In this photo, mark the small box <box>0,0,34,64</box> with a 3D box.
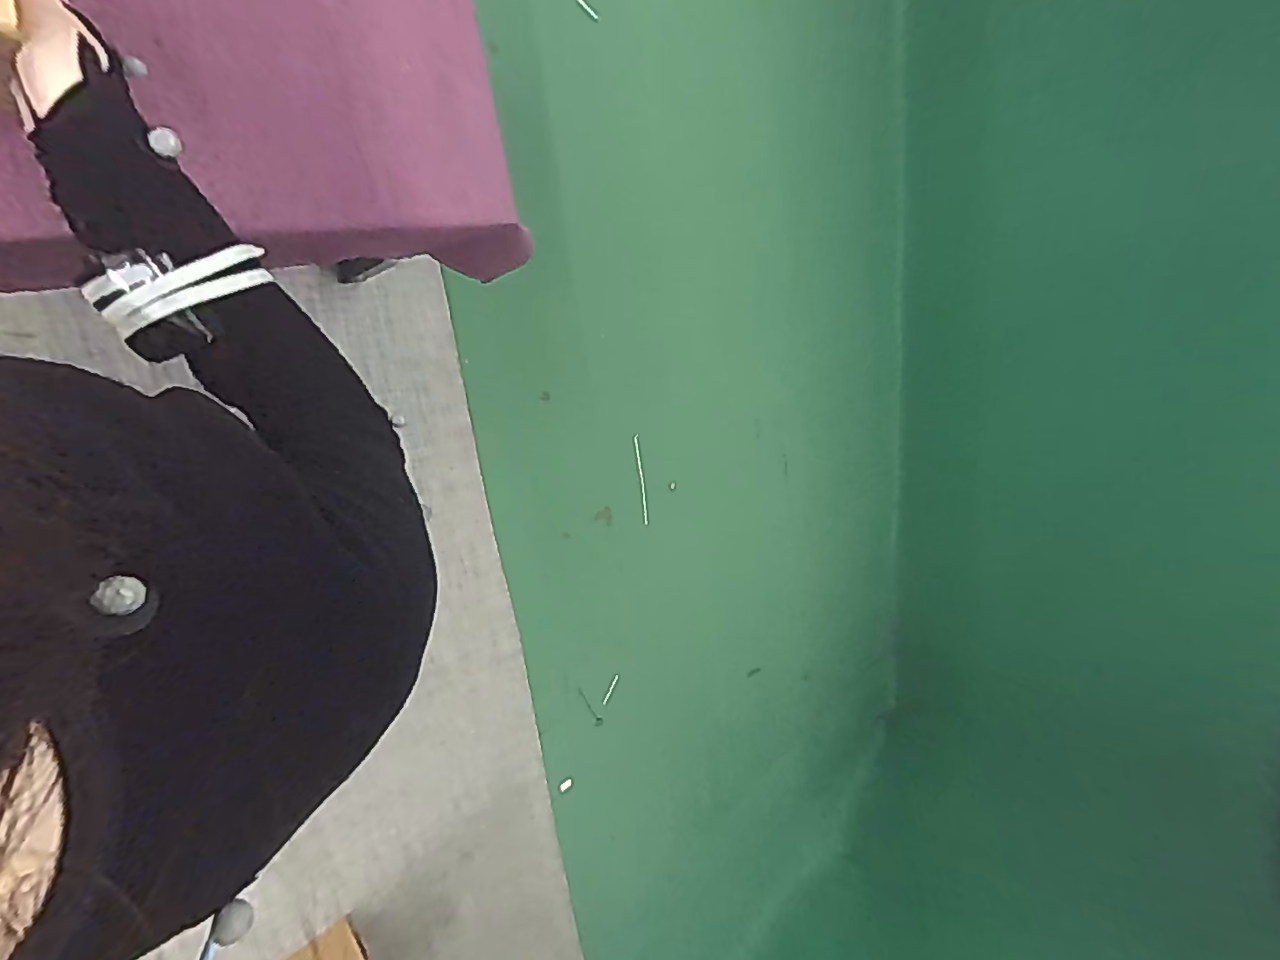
[{"bbox_3d":[-0.411,-0.316,0.238,0.168,0.176,0.179,-15,122,-42],"label":"small box"}]
